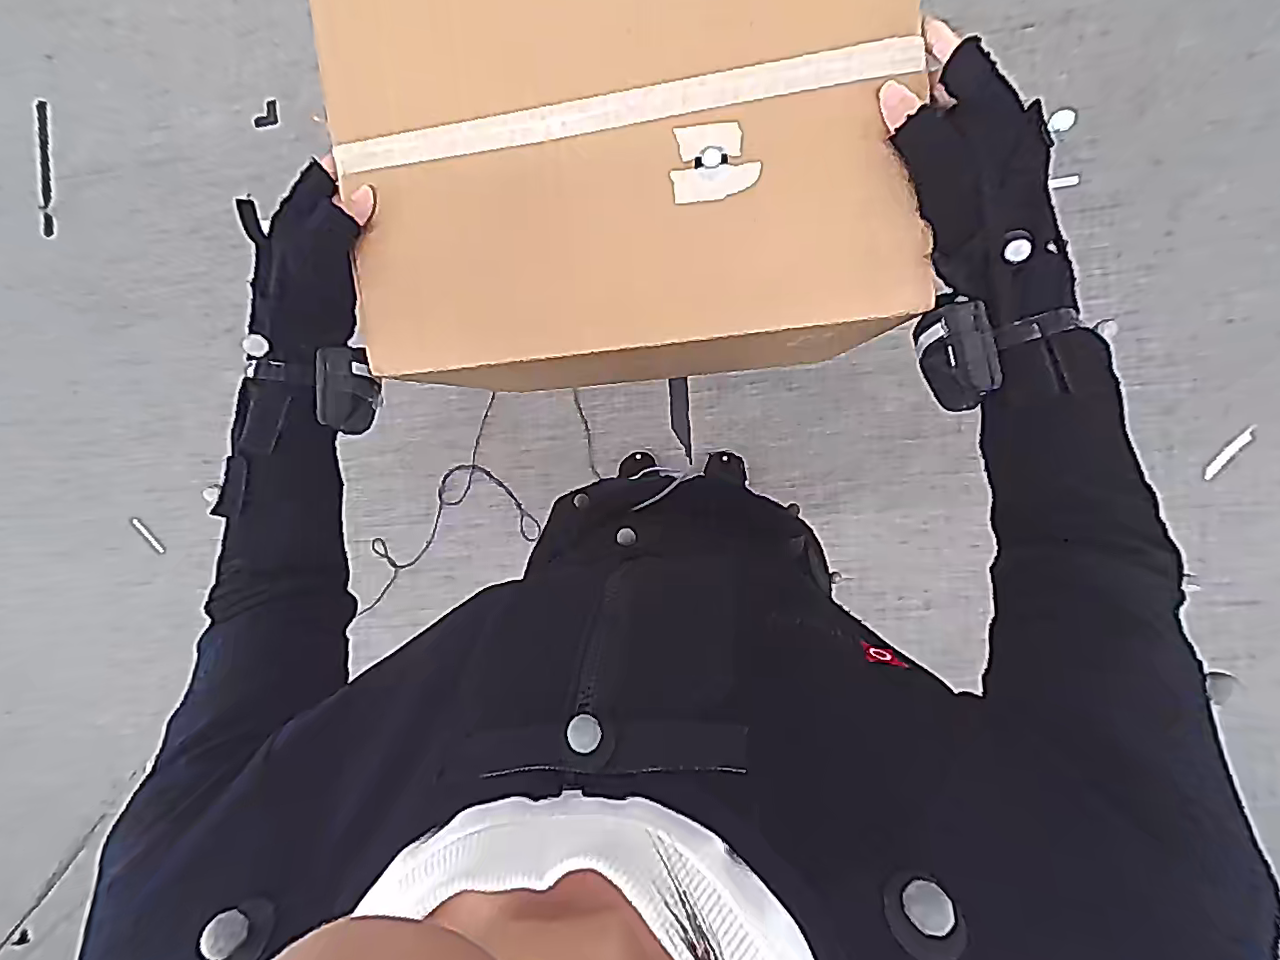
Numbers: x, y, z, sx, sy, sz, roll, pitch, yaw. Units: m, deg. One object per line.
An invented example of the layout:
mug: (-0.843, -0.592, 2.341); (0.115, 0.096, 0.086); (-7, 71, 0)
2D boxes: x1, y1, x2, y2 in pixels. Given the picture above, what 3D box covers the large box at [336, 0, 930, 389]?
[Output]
large box: (0.002, -0.273, 0.526); (0.408, 0.320, 0.320); (-5, 97, 7)
